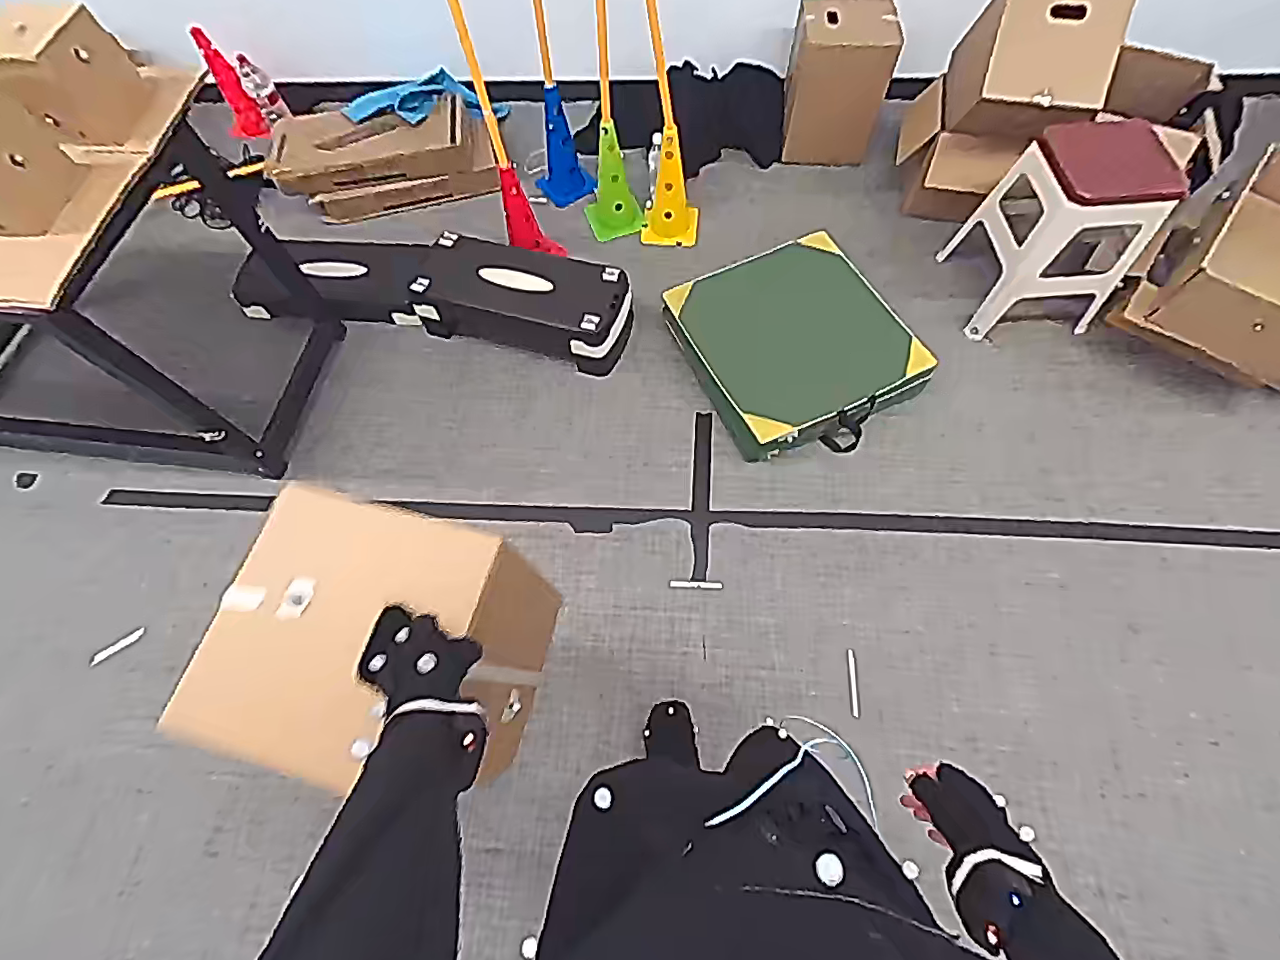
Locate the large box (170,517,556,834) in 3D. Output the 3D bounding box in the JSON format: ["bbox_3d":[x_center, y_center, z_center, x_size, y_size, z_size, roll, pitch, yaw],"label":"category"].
[{"bbox_3d":[-0.349,0.278,0.819,0.320,0.408,0.320,12,69,7],"label":"large box"}]
